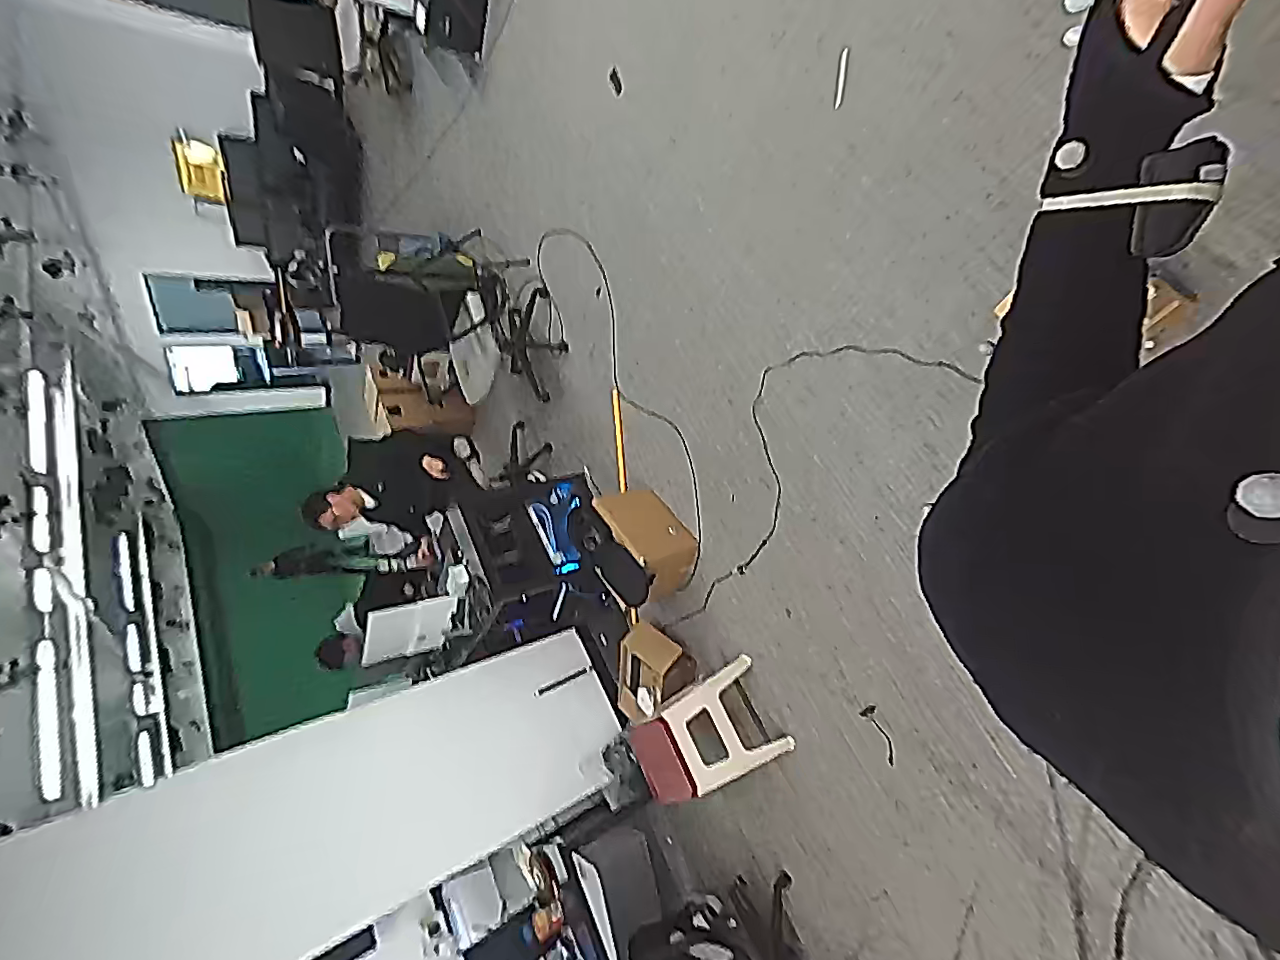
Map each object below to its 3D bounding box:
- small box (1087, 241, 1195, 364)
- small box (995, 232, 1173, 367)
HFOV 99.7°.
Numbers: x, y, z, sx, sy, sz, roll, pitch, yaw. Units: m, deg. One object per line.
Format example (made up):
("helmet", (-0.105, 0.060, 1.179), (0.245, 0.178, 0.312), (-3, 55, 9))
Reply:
("small box", (0.953, -0.352, 1.095), (0.179, 0.176, 0.168), (59, 140, 24))
("small box", (0.821, -0.331, 1.001), (0.179, 0.176, 0.168), (58, 138, 27))
